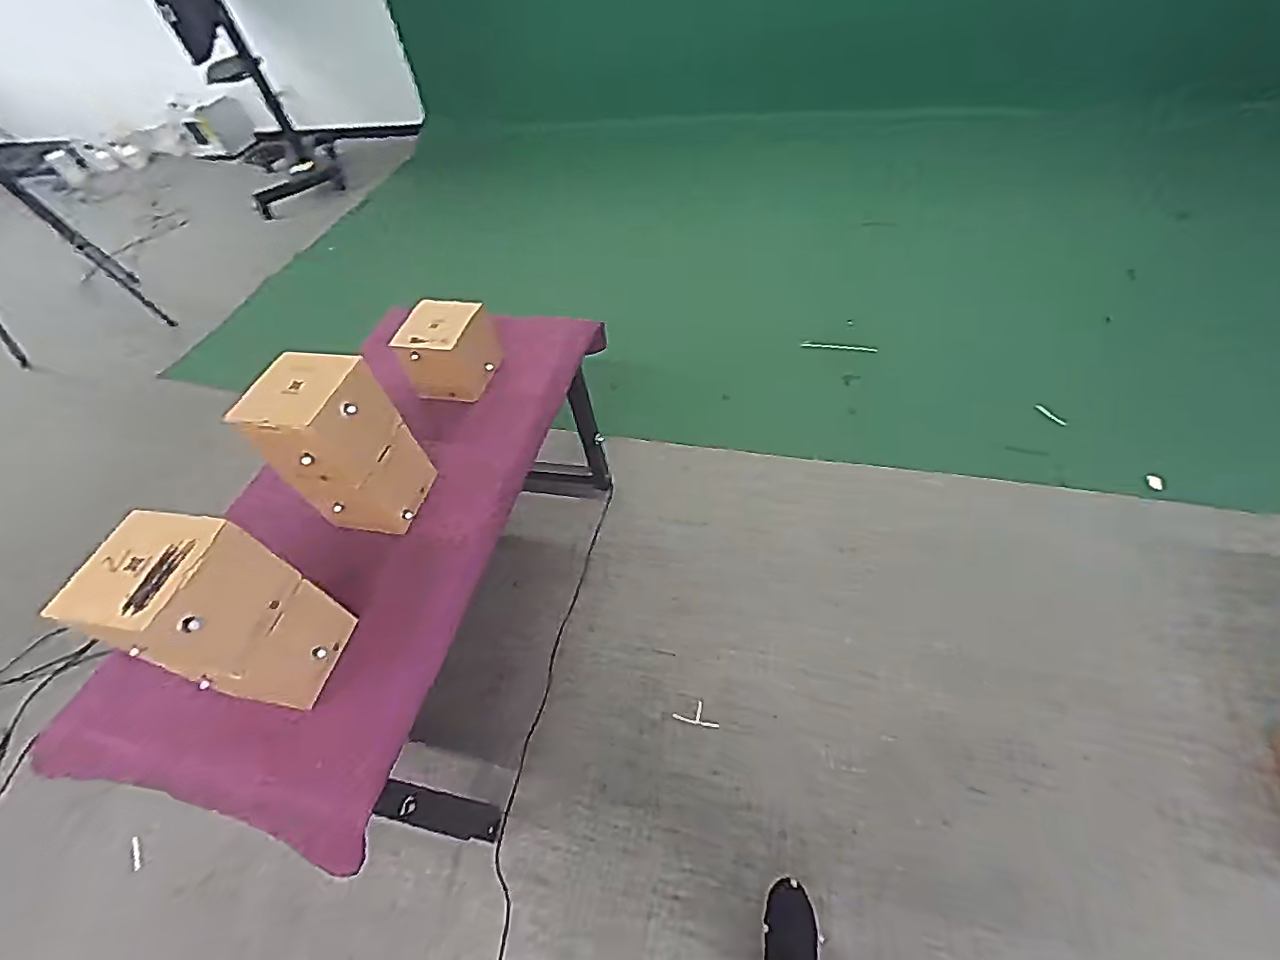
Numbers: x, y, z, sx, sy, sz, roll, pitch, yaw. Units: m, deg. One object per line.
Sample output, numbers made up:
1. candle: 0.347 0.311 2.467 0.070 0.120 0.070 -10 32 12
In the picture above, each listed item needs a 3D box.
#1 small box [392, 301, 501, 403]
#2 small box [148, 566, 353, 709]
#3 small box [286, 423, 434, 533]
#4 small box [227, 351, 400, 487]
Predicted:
1. small box: -0.460 -0.314 1.325 0.168 0.176 0.179 7 54 14
2. small box: -0.627 0.263 0.896 0.179 0.176 0.168 5 53 12
3. small box: -0.553 -0.008 1.100 0.179 0.176 0.168 6 53 14
4. small box: -0.568 -0.107 0.972 0.168 0.176 0.179 7 53 12
